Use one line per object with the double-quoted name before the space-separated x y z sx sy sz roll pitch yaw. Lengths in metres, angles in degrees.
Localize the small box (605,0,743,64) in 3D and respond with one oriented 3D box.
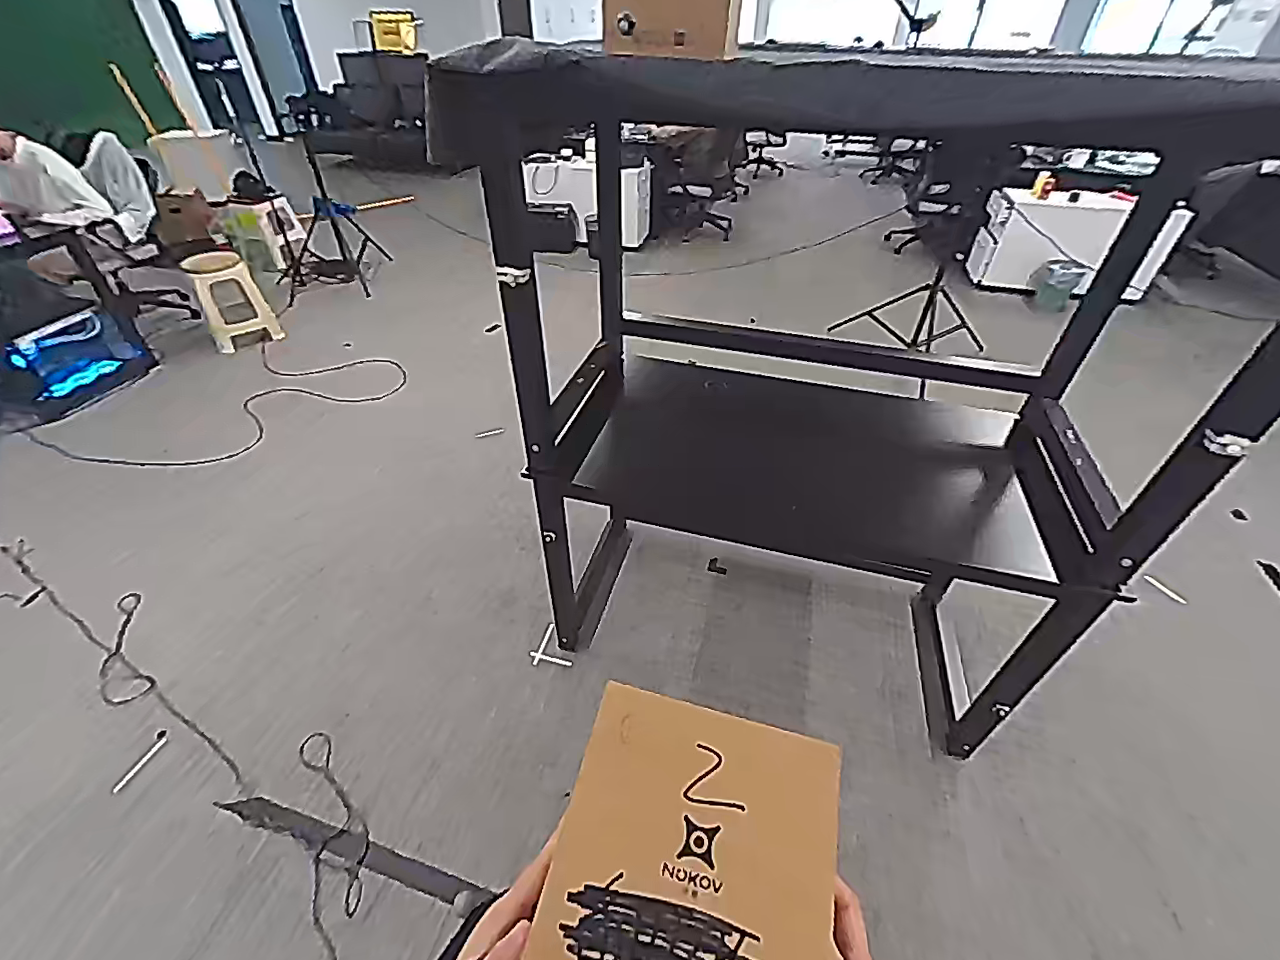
"small box" 0.051 -0.663 0.720 0.168 0.176 0.179 10 39 9
